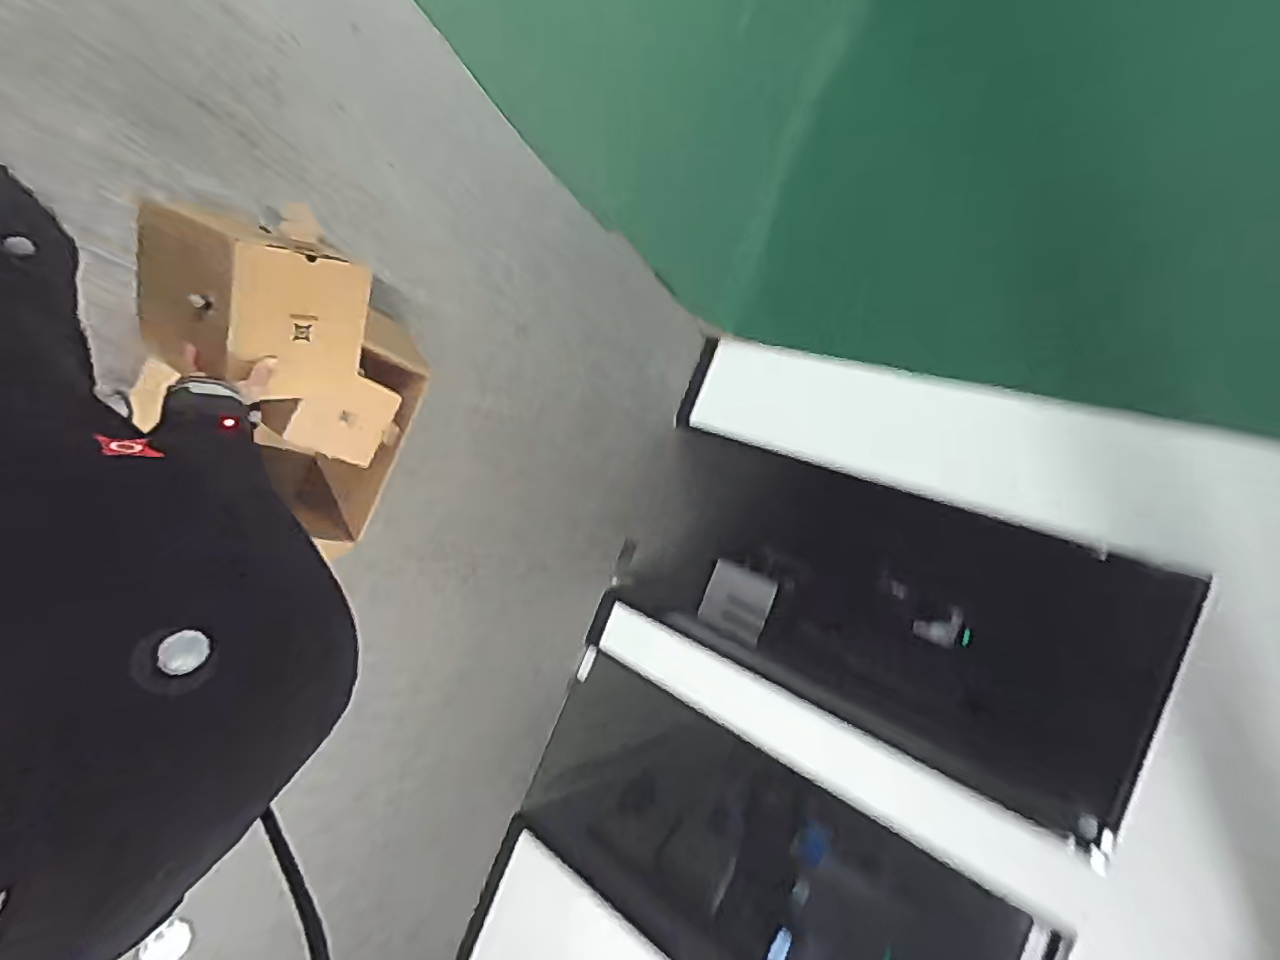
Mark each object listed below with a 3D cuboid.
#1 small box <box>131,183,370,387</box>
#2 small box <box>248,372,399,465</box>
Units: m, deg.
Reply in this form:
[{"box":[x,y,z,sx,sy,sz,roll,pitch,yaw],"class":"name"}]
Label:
[{"box":[-0.465,-0.225,0.651,0.168,0.176,0.179,-27,139,-64],"class":"small box"},{"box":[-0.636,-0.153,1.089,0.179,0.176,0.168,32,83,-57],"class":"small box"}]
